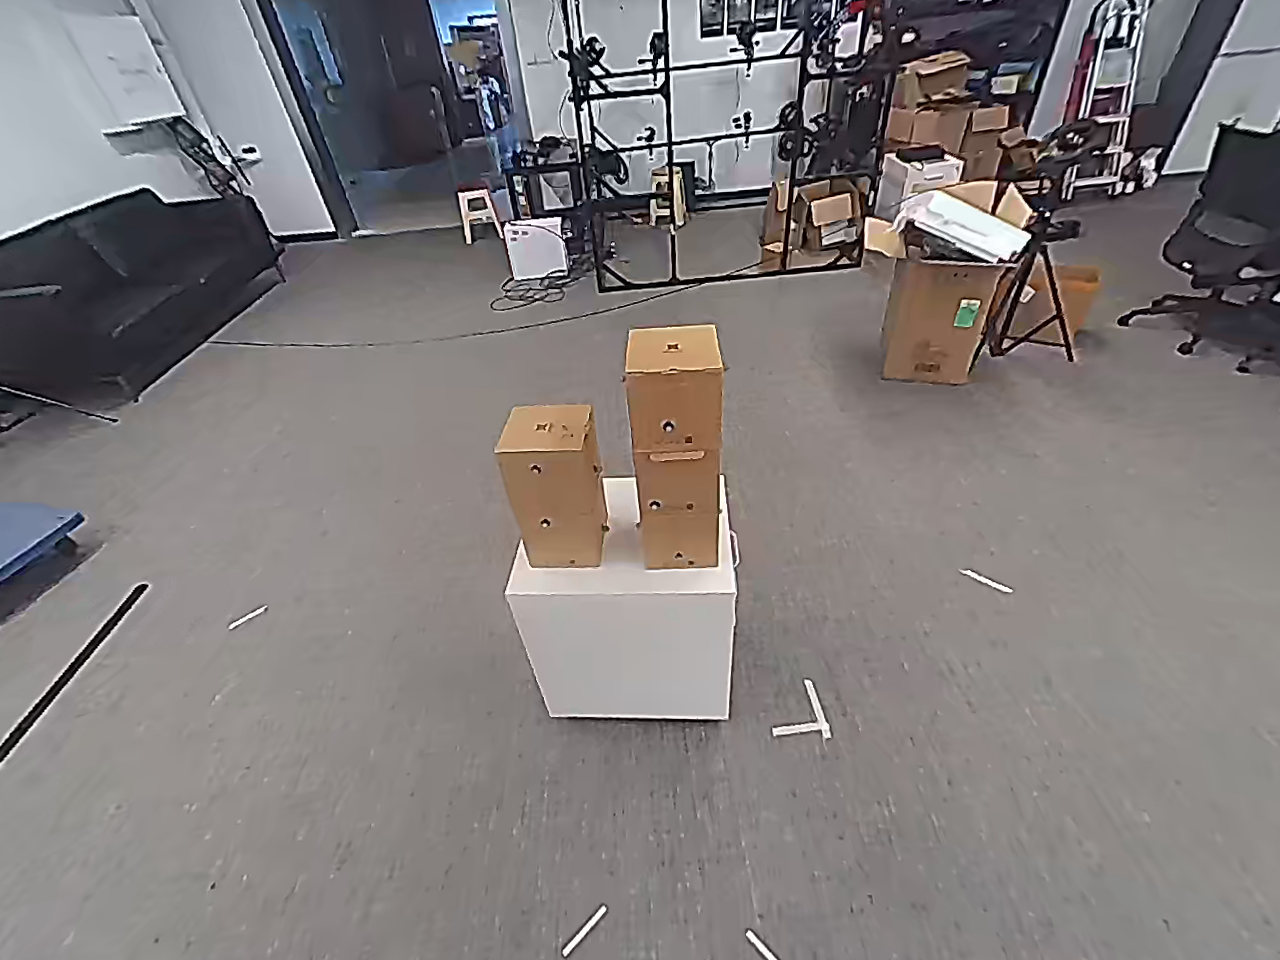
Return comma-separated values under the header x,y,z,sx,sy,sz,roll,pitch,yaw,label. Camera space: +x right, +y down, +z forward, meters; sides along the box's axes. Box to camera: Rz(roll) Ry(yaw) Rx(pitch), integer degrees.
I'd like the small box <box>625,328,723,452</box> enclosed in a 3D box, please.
x,y,z,sx,sy,sz,roll,pitch,yaw,label
0.063,-0.169,1.013,0.168,0.176,0.179,-3,40,4,small box

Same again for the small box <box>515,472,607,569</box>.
x,y,z,sx,sy,sz,roll,pitch,yaw,label
-0.173,0.085,1.248,0.168,0.176,0.179,-1,39,6,small box

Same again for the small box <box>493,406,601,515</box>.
x,y,z,sx,sy,sz,roll,pitch,yaw,label
-0.186,-0.039,1.140,0.179,0.176,0.168,-1,41,5,small box

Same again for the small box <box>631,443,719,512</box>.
x,y,z,sx,sy,sz,roll,pitch,yaw,label
0.075,-0.045,1.118,0.168,0.176,0.179,-3,39,4,small box
